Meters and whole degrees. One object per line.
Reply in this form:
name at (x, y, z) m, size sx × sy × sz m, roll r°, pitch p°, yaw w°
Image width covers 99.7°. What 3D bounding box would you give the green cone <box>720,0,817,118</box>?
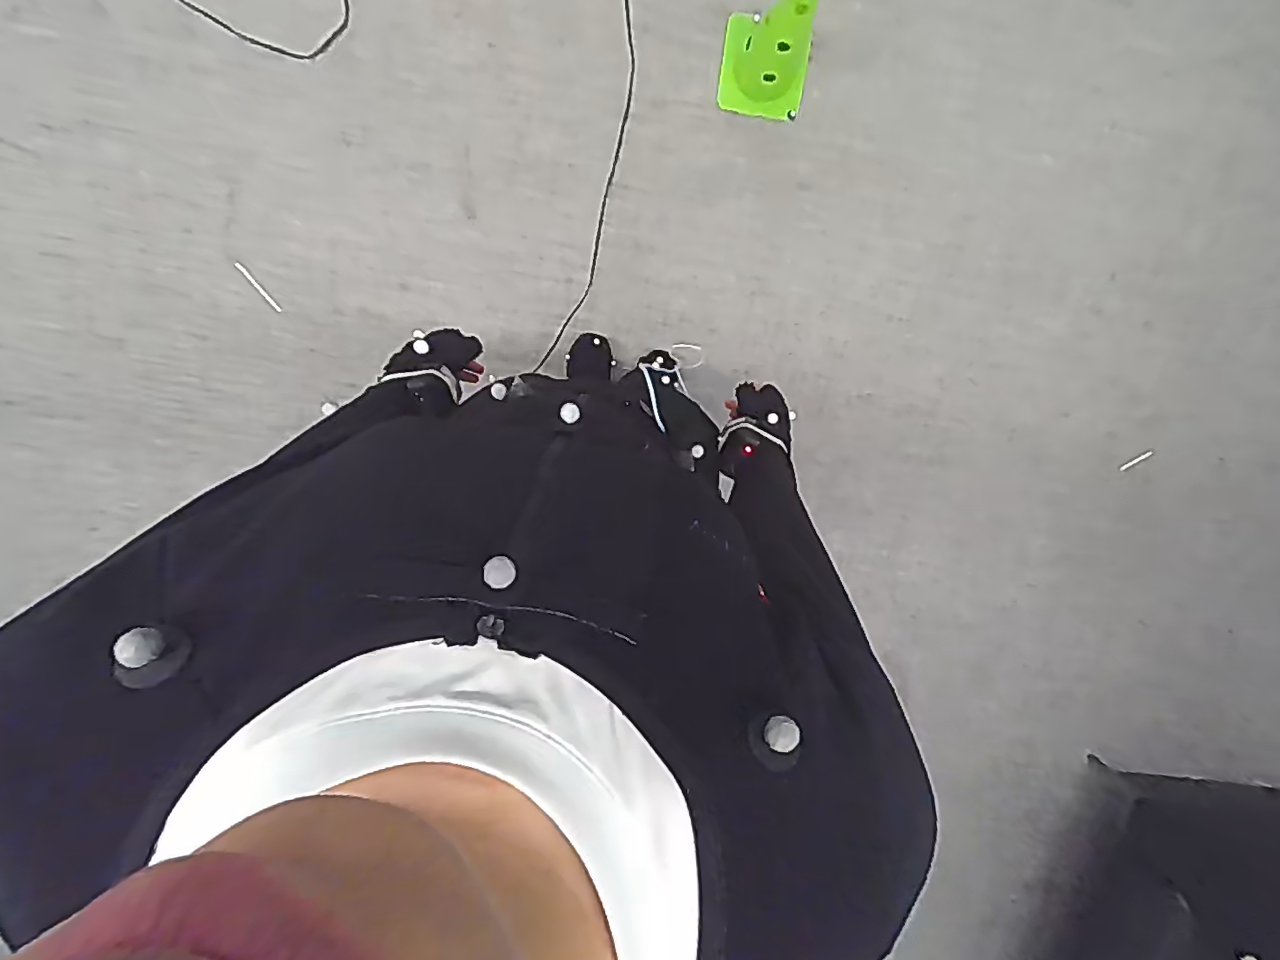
green cone at (0.301, -0.929, 1.095) m, size 0.202 × 0.368 × 0.200 m, roll 7°, pitch 103°, yaw -3°
